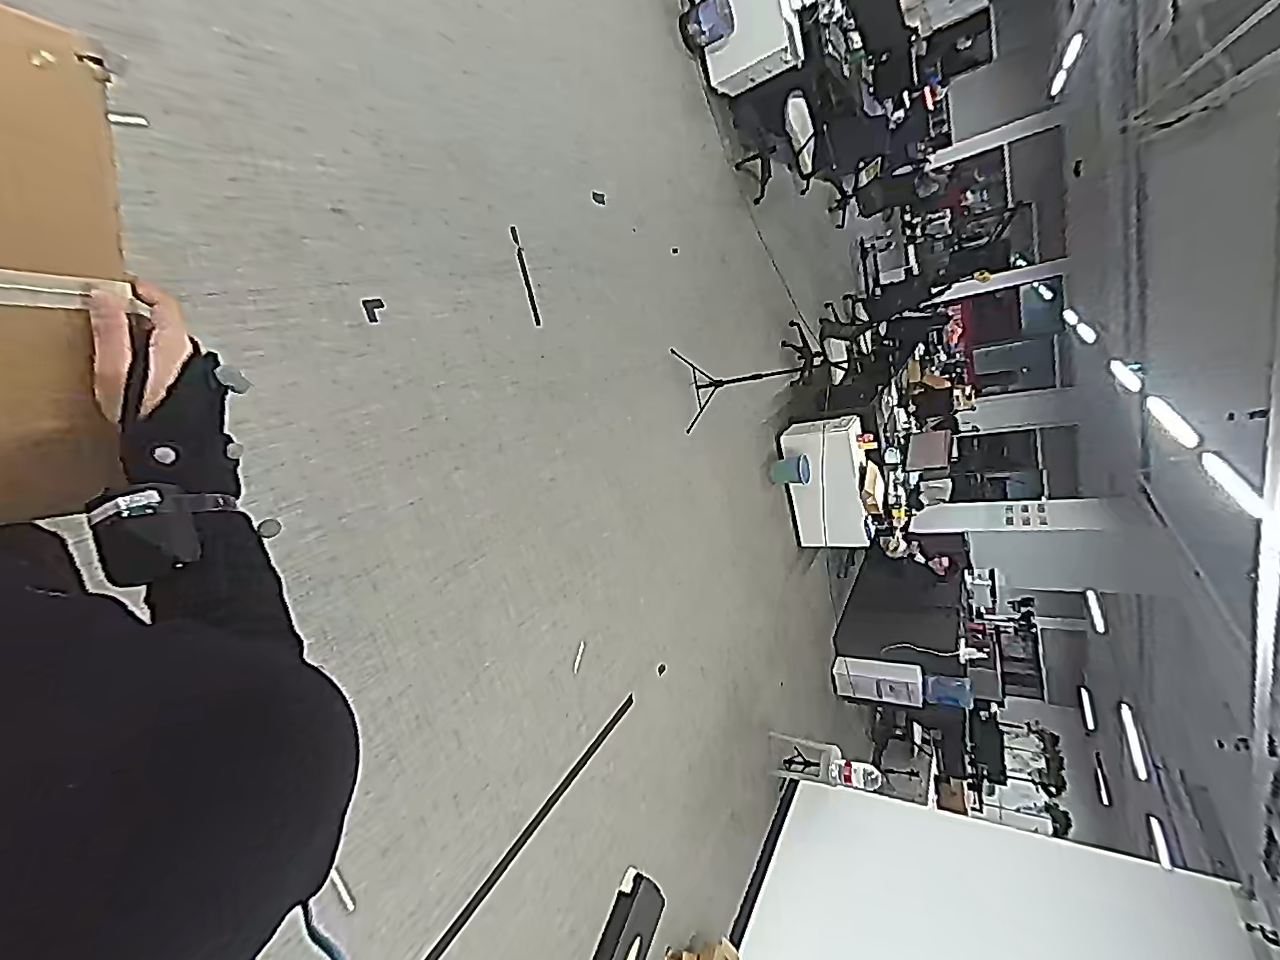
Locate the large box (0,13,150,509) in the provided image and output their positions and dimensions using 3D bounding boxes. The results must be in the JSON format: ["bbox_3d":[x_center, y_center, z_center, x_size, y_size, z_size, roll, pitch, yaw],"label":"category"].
[{"bbox_3d":[-0.612,-0.145,0.312,0.408,0.320,0.320,-16,120,-54],"label":"large box"}]
